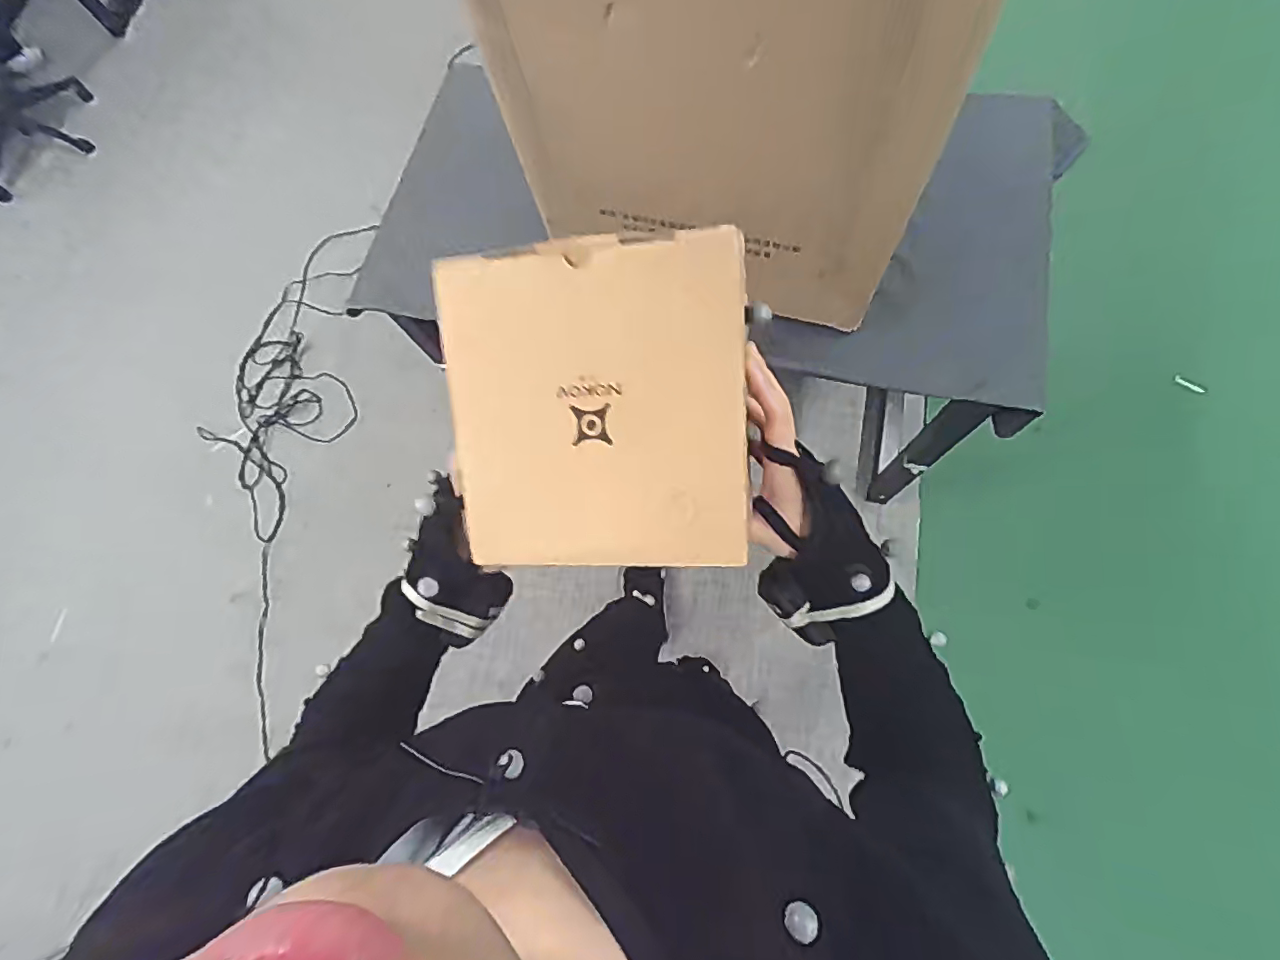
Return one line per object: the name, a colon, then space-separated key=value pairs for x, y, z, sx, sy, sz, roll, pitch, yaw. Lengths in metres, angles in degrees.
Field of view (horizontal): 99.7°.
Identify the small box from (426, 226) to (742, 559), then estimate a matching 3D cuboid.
small box: x=-0.016 y=-0.060 z=0.373 sx=0.168 sy=0.176 sz=0.179 roll=-1 pitch=104 yaw=12
